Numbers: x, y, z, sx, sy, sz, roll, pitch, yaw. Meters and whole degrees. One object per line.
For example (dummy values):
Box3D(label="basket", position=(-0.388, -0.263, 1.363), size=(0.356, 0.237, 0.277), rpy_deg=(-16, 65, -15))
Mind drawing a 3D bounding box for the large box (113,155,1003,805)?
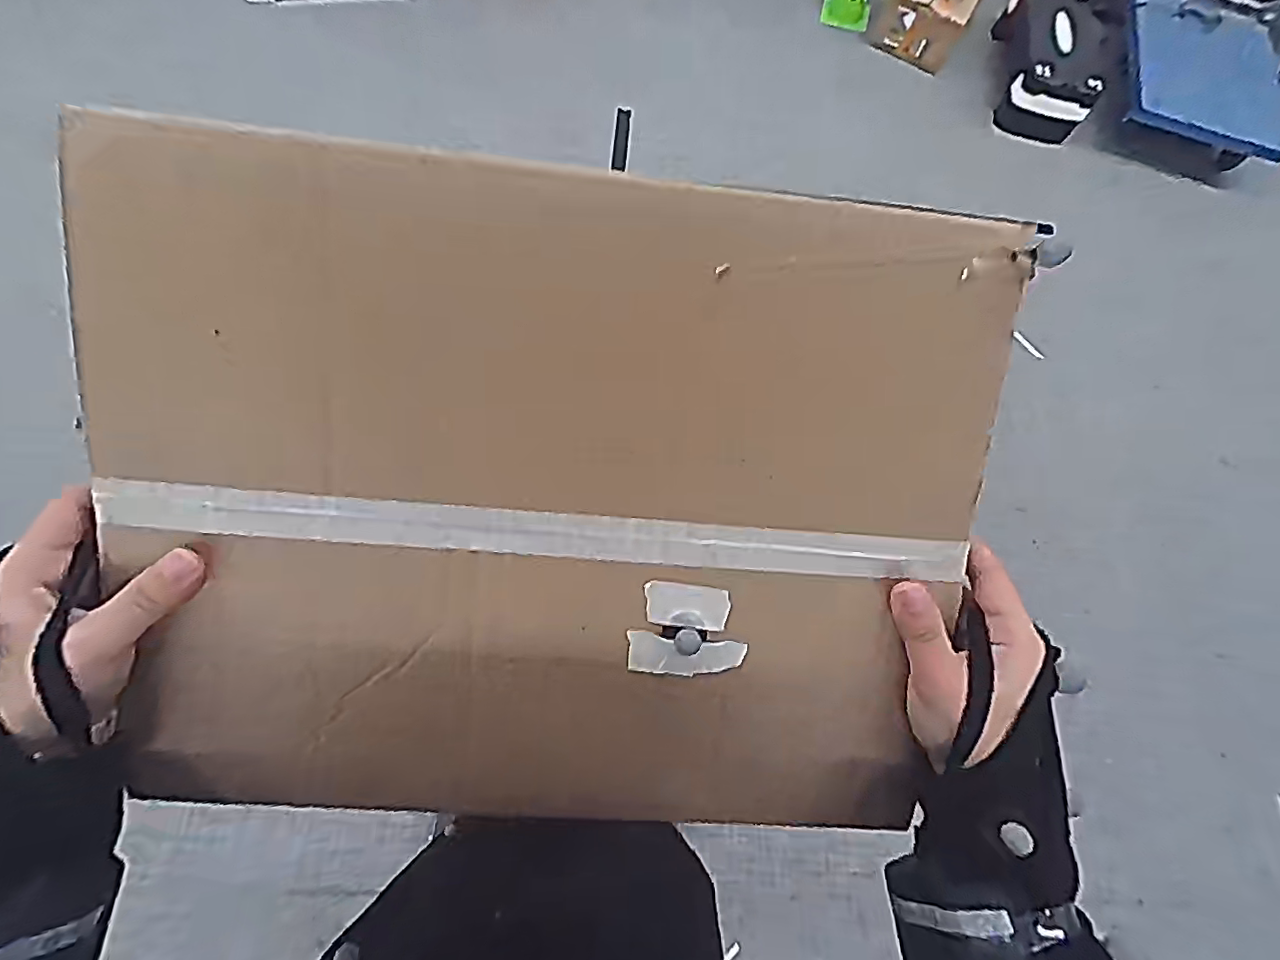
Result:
Box3D(label="large box", position=(-0.047, -0.002, 0.413), size=(0.408, 0.320, 0.320), rpy_deg=(5, 102, -5))
